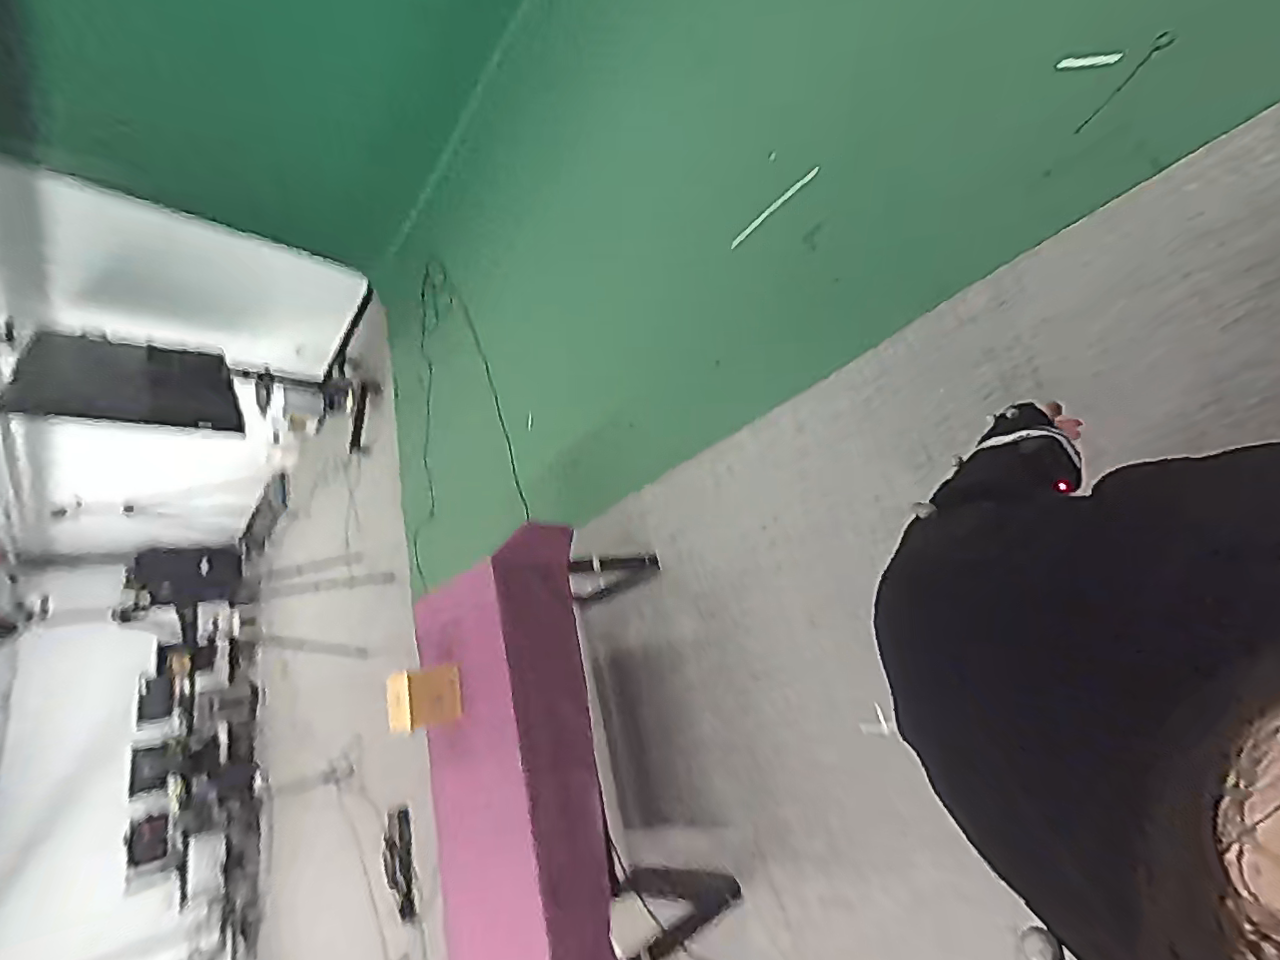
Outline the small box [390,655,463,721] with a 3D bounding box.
[{"bbox_3d":[-0.680,0.664,1.733,0.179,0.176,0.168,-27,67,42],"label":"small box"}]
